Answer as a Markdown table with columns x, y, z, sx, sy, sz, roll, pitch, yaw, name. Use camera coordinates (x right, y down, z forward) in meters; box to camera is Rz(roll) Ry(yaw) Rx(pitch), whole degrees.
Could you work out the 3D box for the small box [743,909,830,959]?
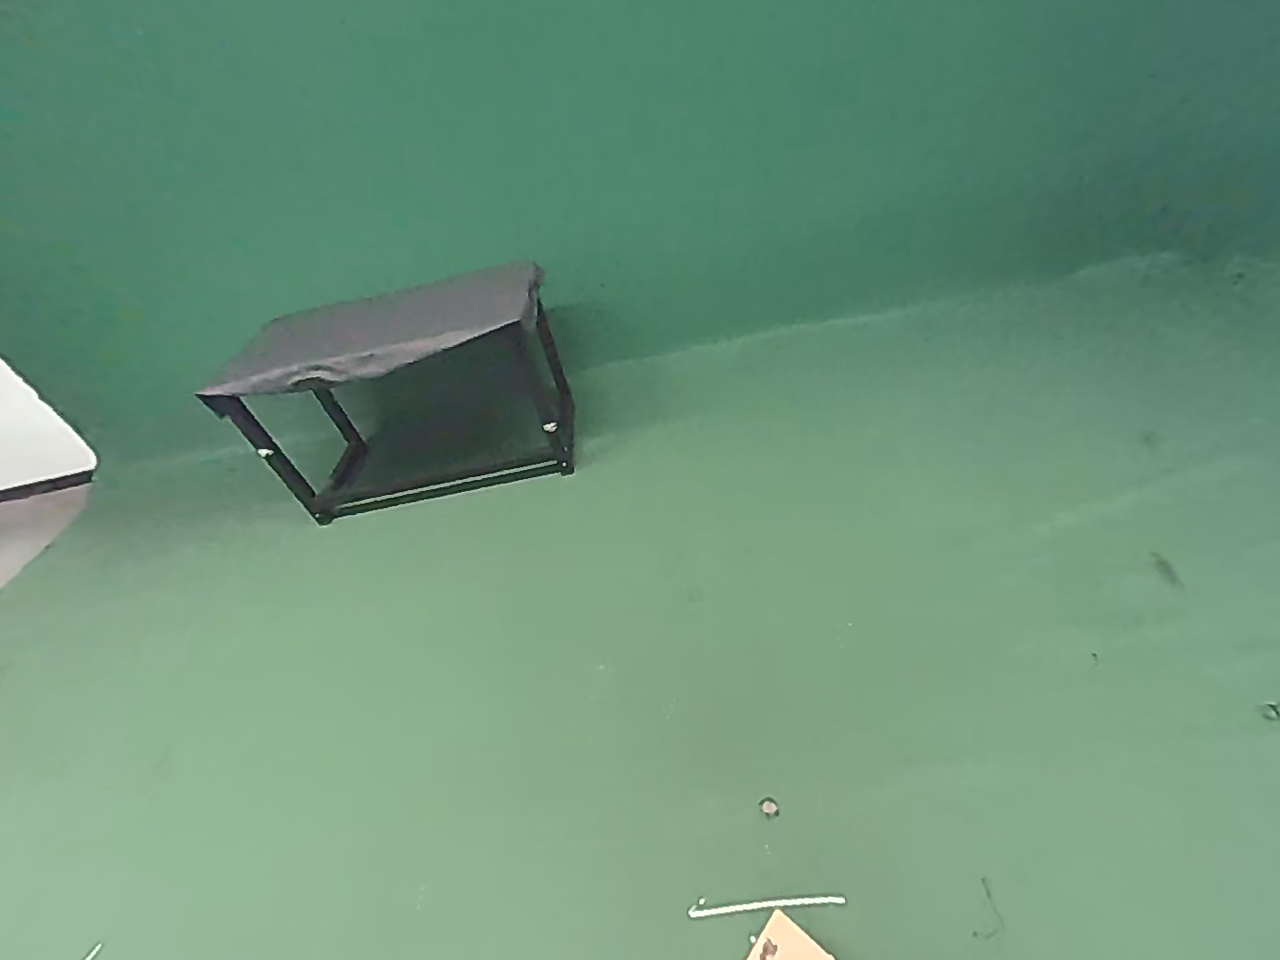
| x | y | z | sx | sy | sz | roll | pitch | yaw | name |
| --- | --- | --- | --- | --- | --- | --- | --- | --- | --- |
| 0.264 | 0.900 | 0.930 | 0.179 | 0.176 | 0.168 | 25 | 53 | 38 | small box |
